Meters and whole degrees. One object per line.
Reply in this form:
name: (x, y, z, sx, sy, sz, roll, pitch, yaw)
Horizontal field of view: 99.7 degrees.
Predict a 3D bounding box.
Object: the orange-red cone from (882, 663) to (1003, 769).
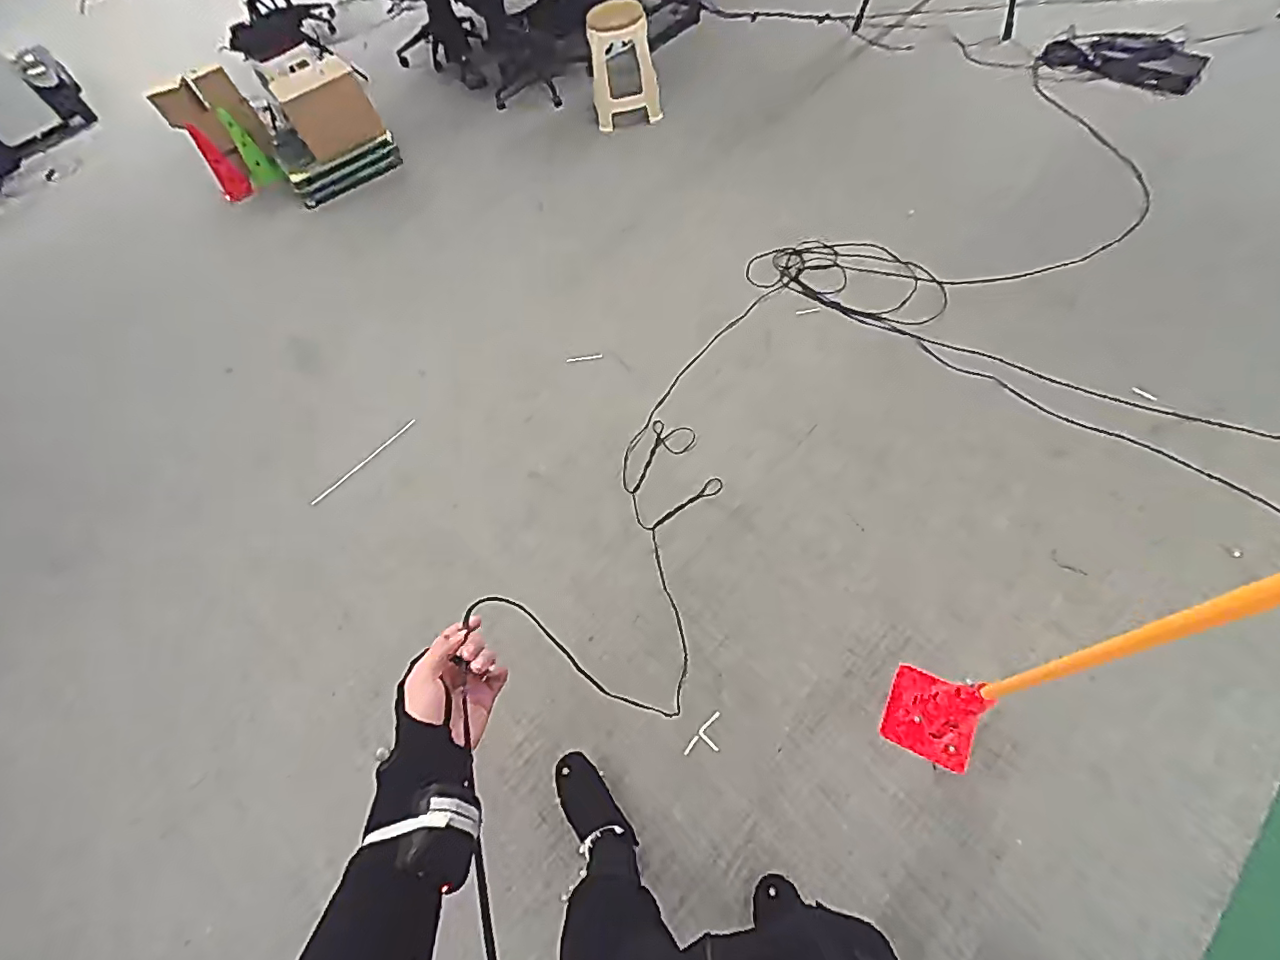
orange-red cone: (0.703, 0.494, 1.197, 0.198, 0.360, 0.199, 23, 65, 20)
